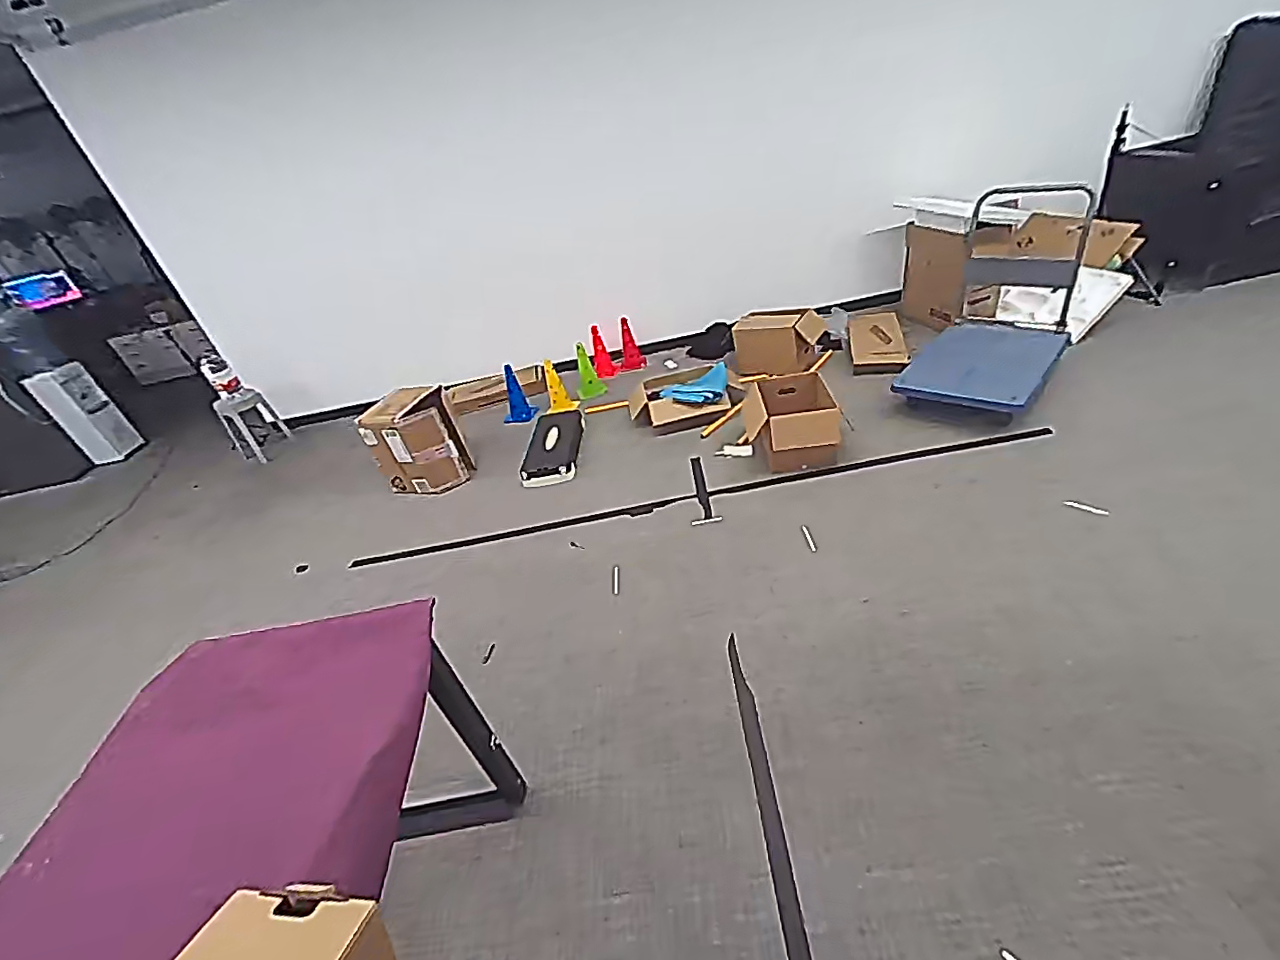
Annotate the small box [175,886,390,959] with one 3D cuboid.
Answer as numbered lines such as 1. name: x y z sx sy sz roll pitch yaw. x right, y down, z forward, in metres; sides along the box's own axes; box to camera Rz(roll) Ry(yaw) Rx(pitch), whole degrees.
1. small box: -0.330 0.508 0.472 0.168 0.176 0.179 -5 14 12
